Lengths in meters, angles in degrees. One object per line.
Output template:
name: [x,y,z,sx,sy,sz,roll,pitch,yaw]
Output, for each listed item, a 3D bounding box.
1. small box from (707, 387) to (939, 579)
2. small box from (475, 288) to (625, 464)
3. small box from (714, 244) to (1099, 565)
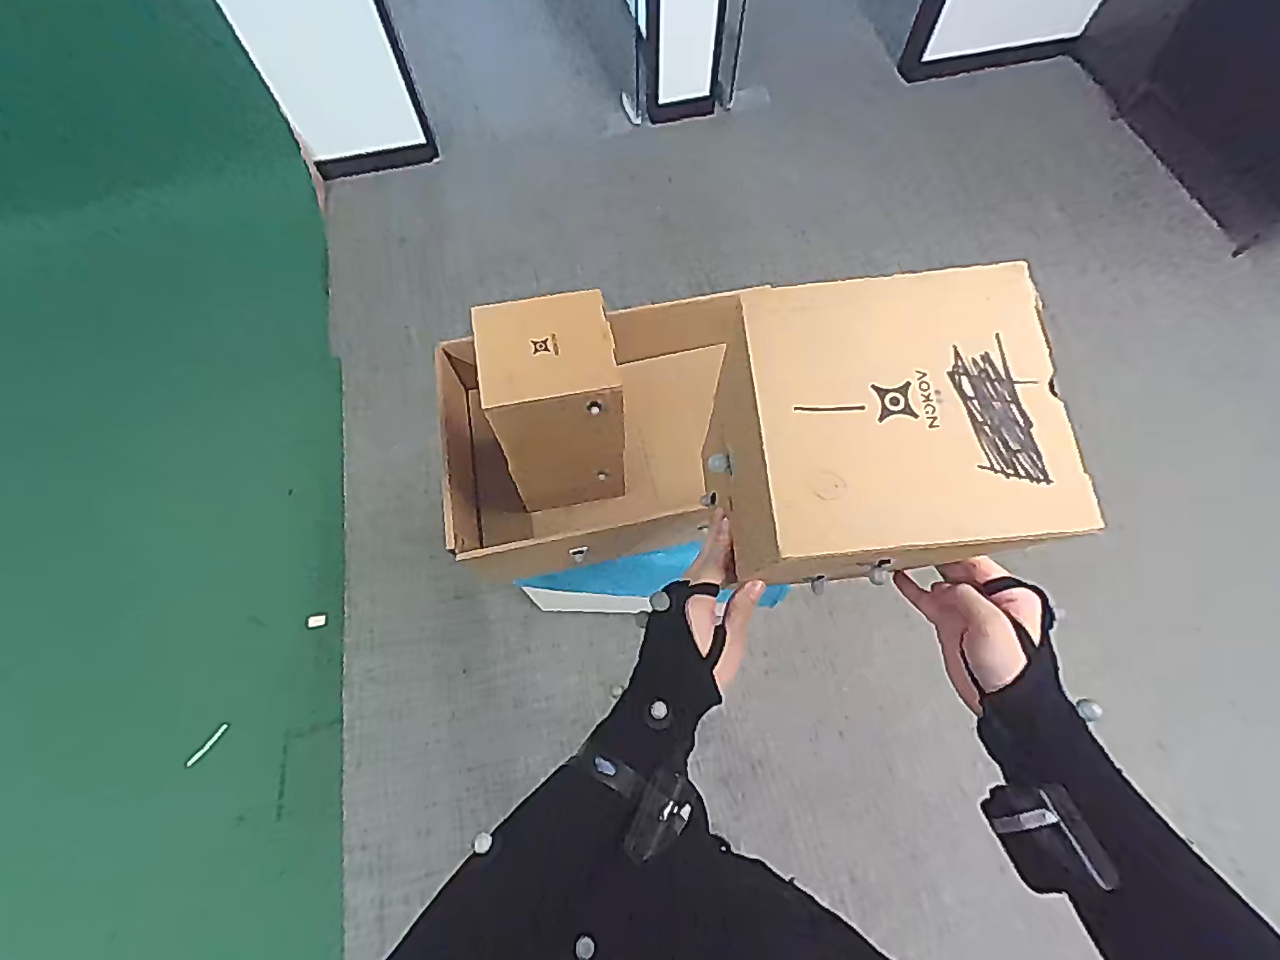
small box: [0.162,0.006,0.541,0.179,0.176,0.168,-5,76,1]
small box: [-0.119,-0.138,0.756,0.179,0.176,0.168,-10,64,-7]
small box: [0.153,-0.035,0.381,0.179,0.176,0.168,-6,75,2]
